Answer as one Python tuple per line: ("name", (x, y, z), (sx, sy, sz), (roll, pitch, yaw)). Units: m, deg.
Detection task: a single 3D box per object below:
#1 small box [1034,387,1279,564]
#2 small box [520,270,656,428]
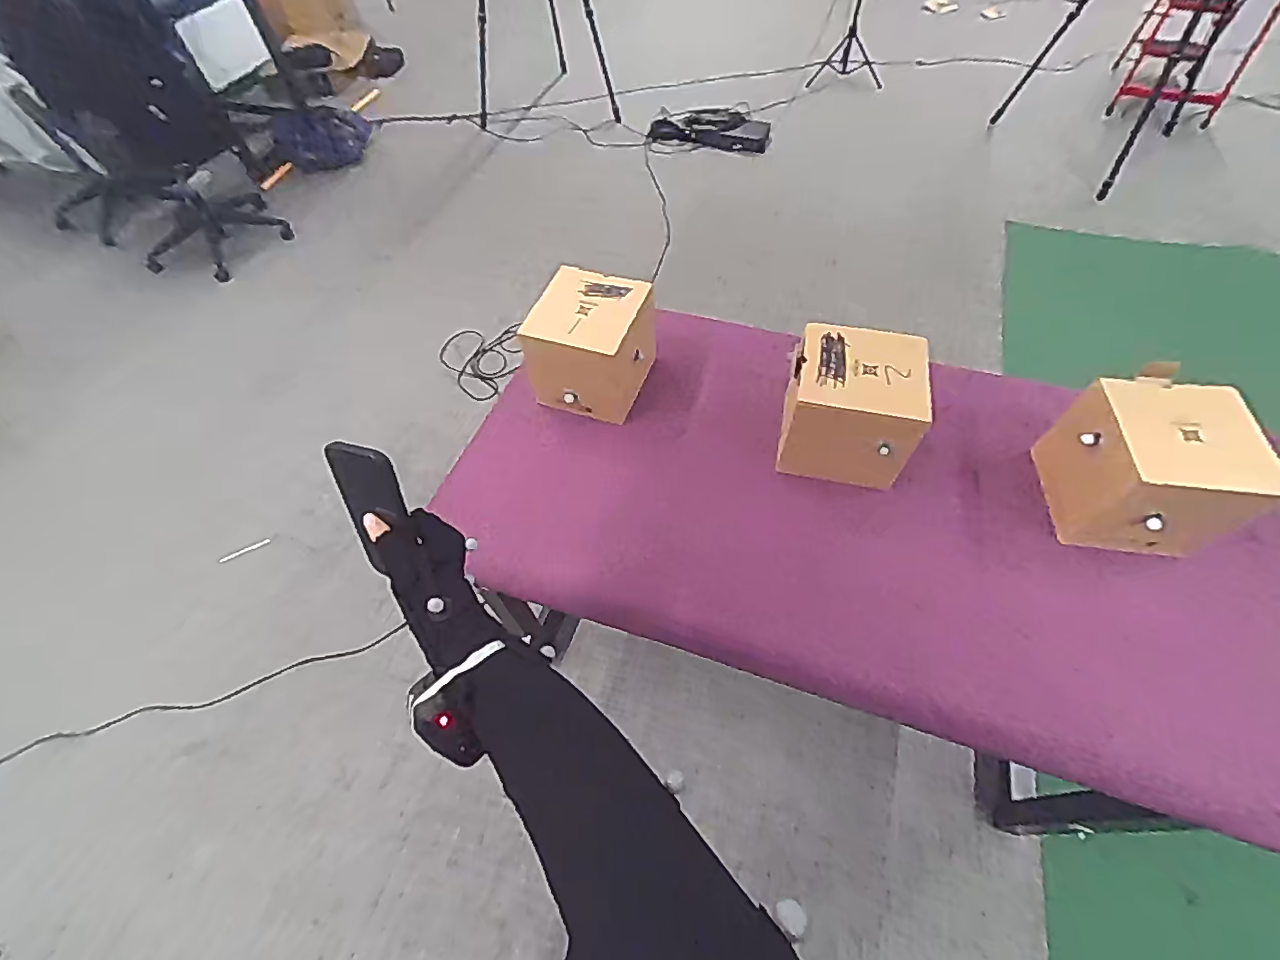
("small box", (0.685, -0.002, 0.737), (0.168, 0.176, 0.179), (6, 56, 8))
("small box", (-0.078, -0.220, 0.919), (0.168, 0.176, 0.179), (16, 60, 13))
